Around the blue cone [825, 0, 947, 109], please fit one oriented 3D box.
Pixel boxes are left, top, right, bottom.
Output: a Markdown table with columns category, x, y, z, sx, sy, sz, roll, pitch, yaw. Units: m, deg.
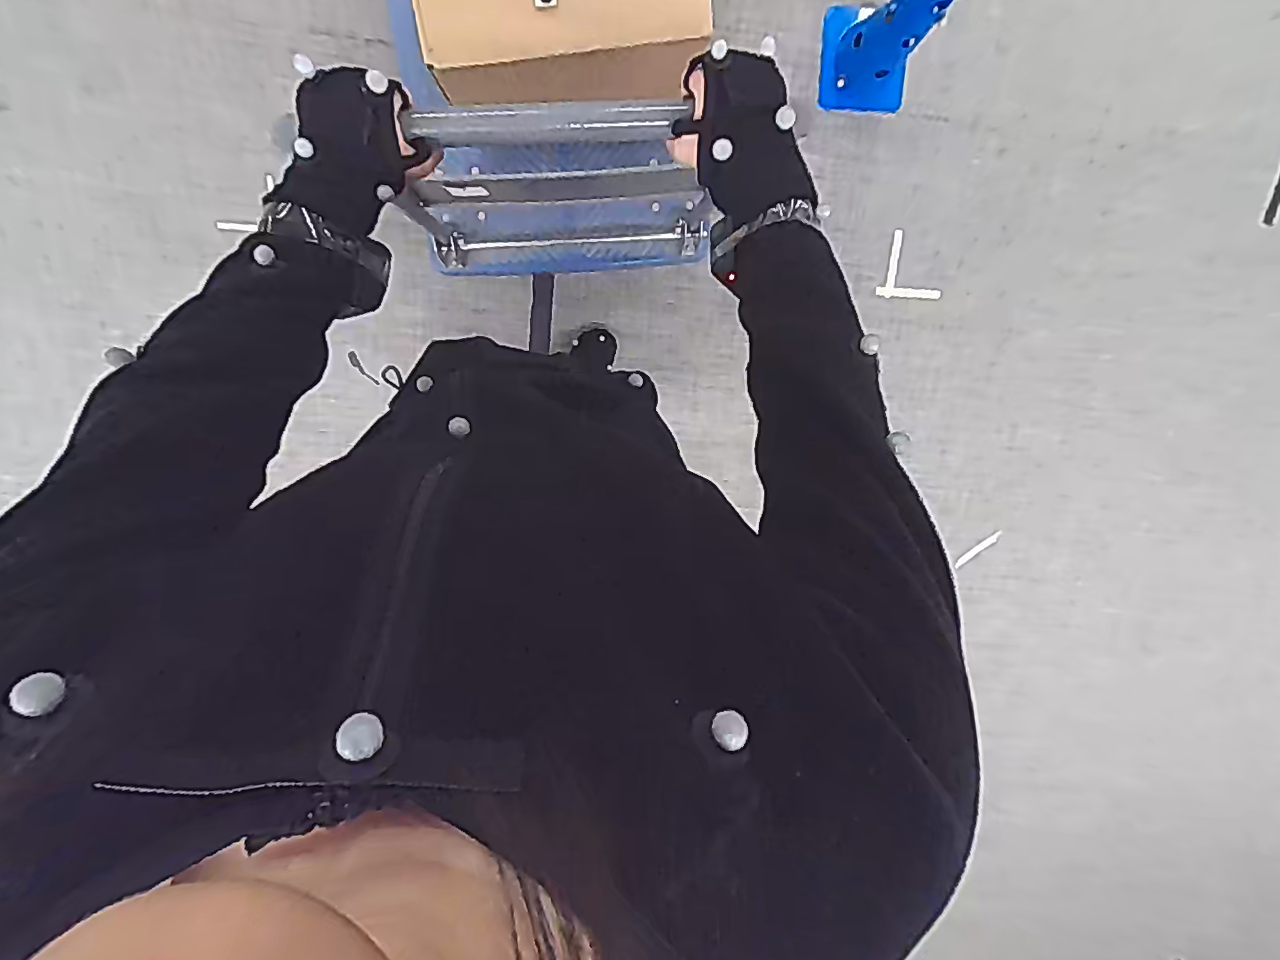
| category | x | y | z | sx | sy | sz | roll | pitch | yaw |
| --- | --- | --- | --- | --- | --- | --- | --- | --- | --- |
| blue cone | 0.527 | -0.904 | 1.061 | 0.193 | 0.380 | 0.192 | 0 | 105 | -6 |
